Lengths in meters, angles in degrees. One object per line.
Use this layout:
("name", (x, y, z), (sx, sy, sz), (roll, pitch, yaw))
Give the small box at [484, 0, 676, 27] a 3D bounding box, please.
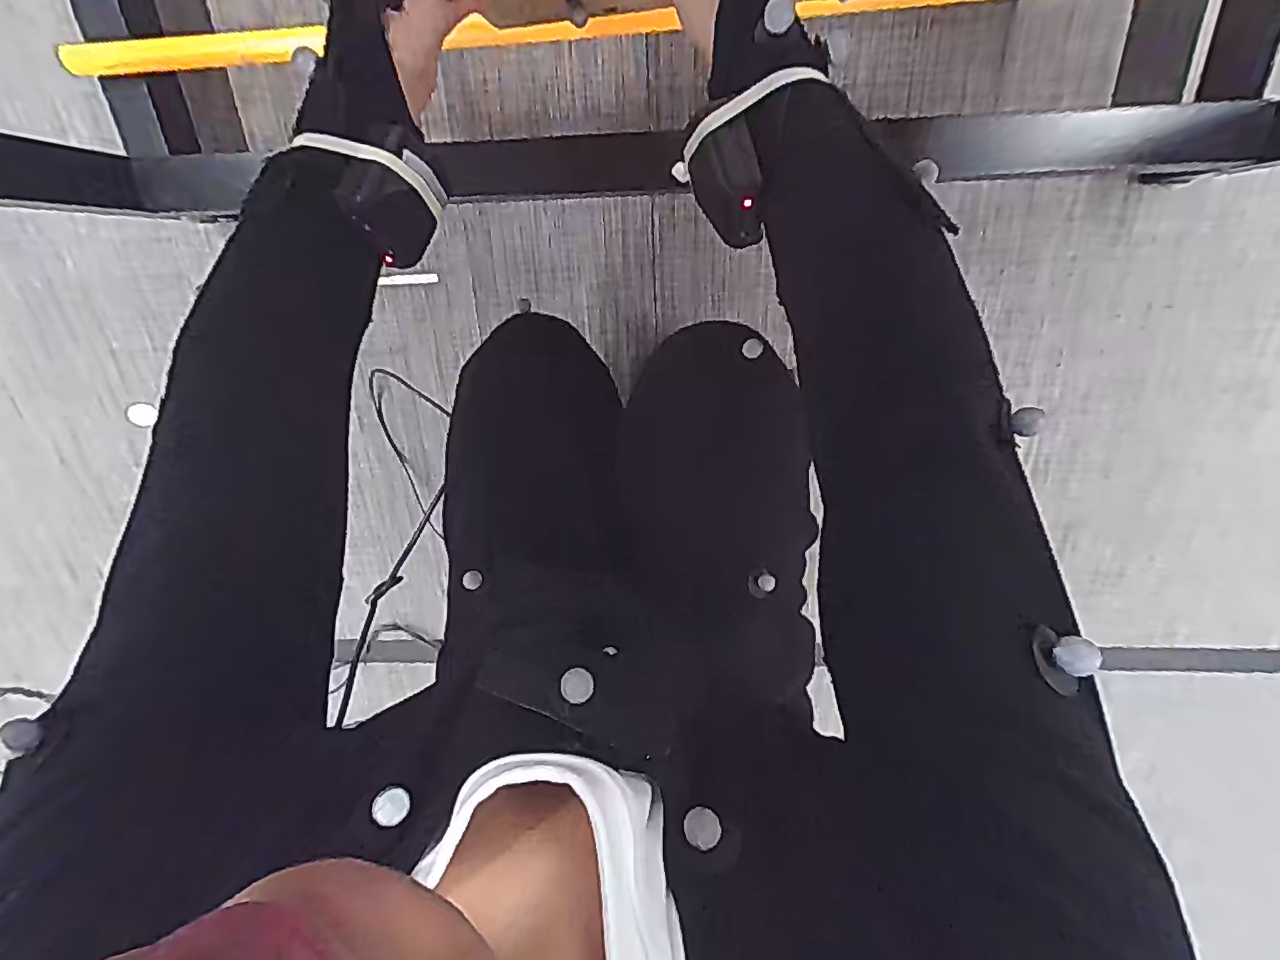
("small box", (-0.054, -0.434, 0.350), (0.168, 0.176, 0.179), (-3, 118, 5))
